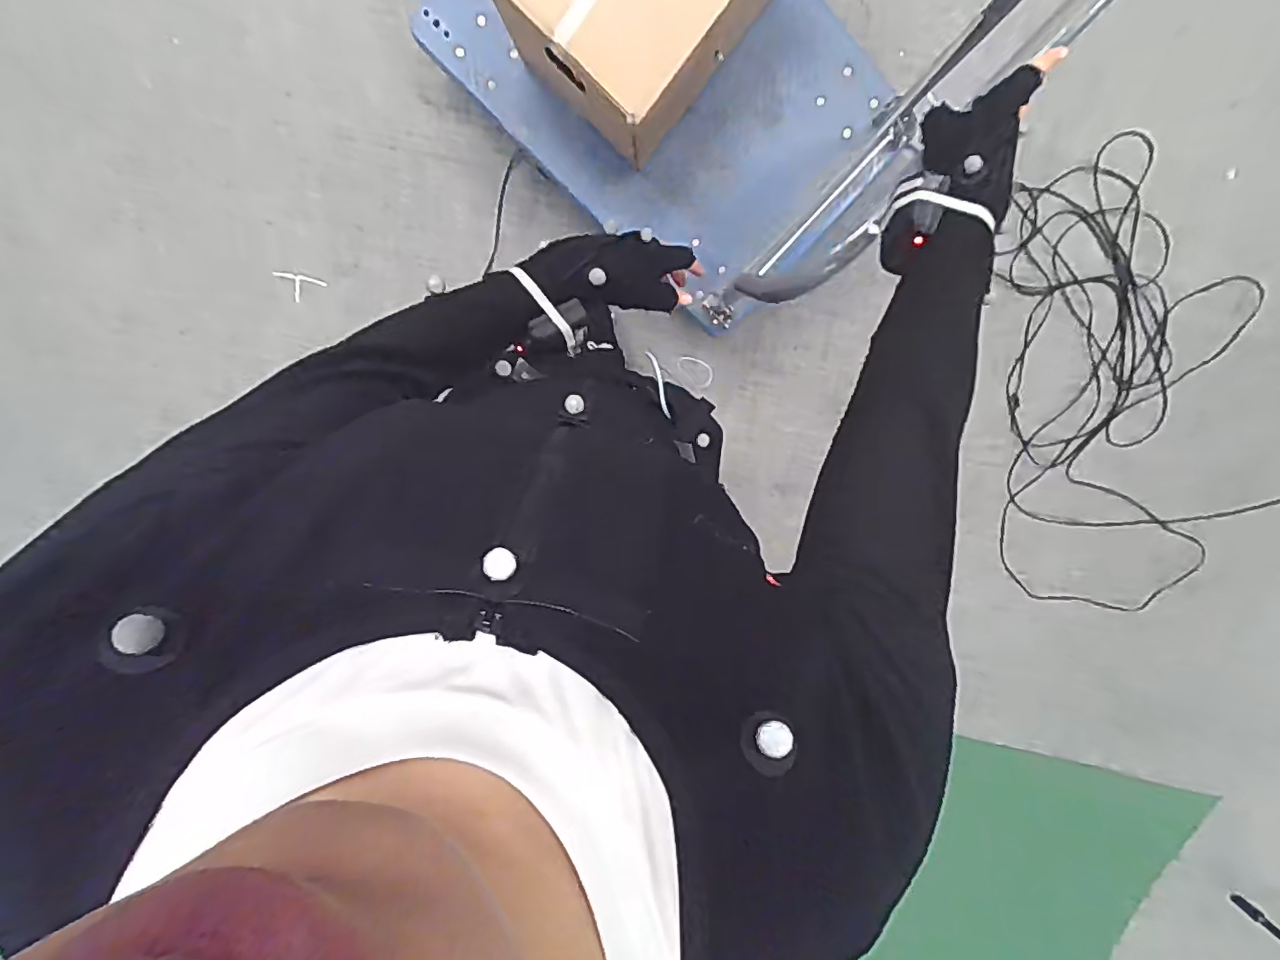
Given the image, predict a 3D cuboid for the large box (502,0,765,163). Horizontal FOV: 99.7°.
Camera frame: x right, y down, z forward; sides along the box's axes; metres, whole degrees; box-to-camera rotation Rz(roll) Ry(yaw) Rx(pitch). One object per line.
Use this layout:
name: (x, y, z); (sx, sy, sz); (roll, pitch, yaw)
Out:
large box: (0.021, -0.836, 0.897); (0.320, 0.320, 0.408); (39, 105, -11)
